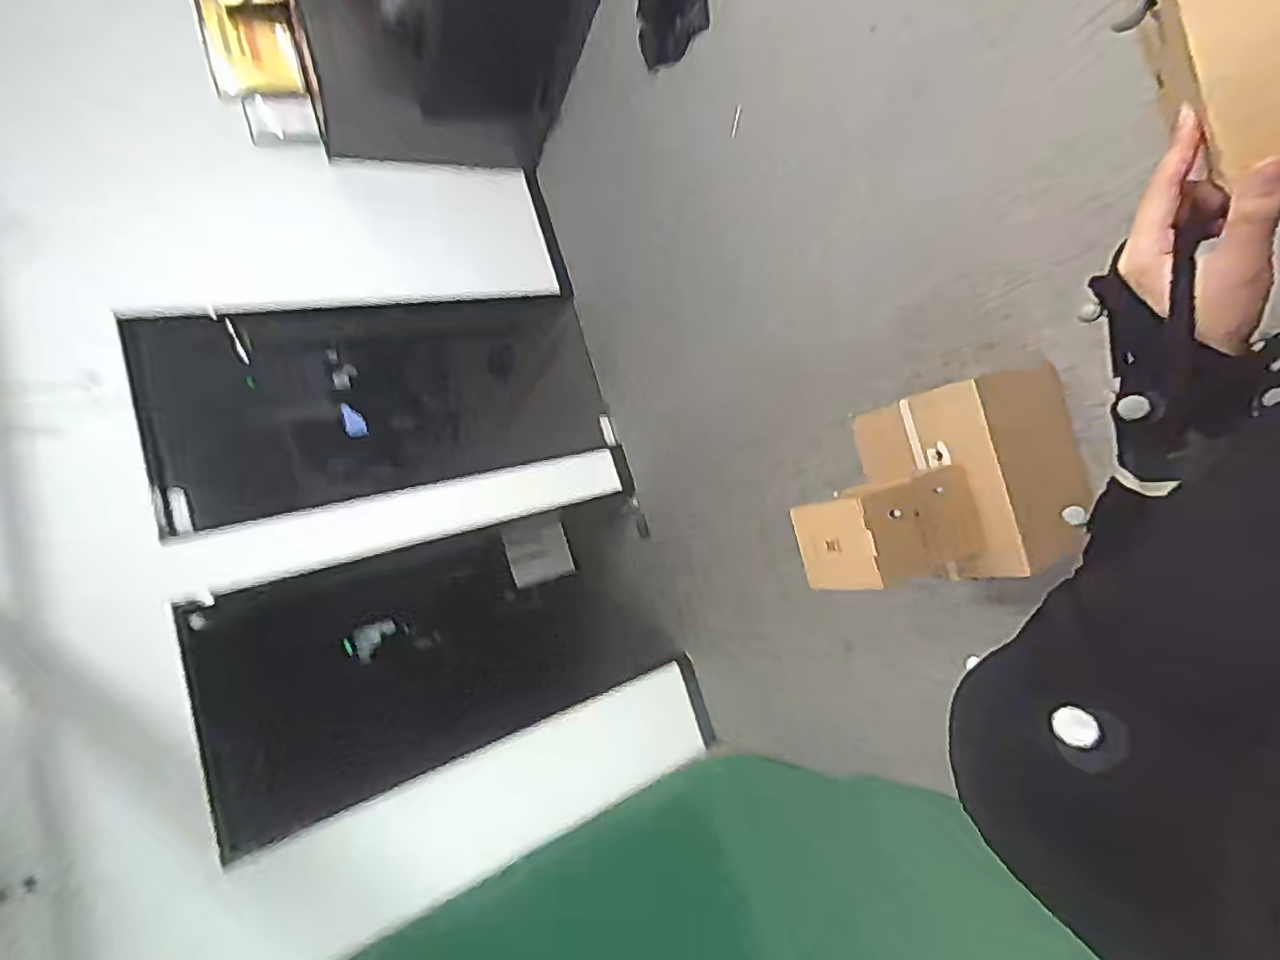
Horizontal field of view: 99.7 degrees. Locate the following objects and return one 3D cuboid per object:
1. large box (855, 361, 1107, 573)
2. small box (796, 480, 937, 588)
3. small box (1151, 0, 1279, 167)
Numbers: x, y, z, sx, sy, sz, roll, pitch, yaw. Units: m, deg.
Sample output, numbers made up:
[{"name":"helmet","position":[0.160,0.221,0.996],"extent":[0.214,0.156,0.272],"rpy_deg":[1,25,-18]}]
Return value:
[{"name":"large box","position":[0.773,-0.021,1.248],"extent":[0.320,0.320,0.408],"rpy_deg":[-21,83,61]},{"name":"small box","position":[0.441,0.105,1.044],"extent":[0.179,0.176,0.168],"rpy_deg":[-23,80,63]},{"name":"small box","position":[0.357,-0.275,0.243],"extent":[0.179,0.176,0.168],"rpy_deg":[-19,107,43]}]
